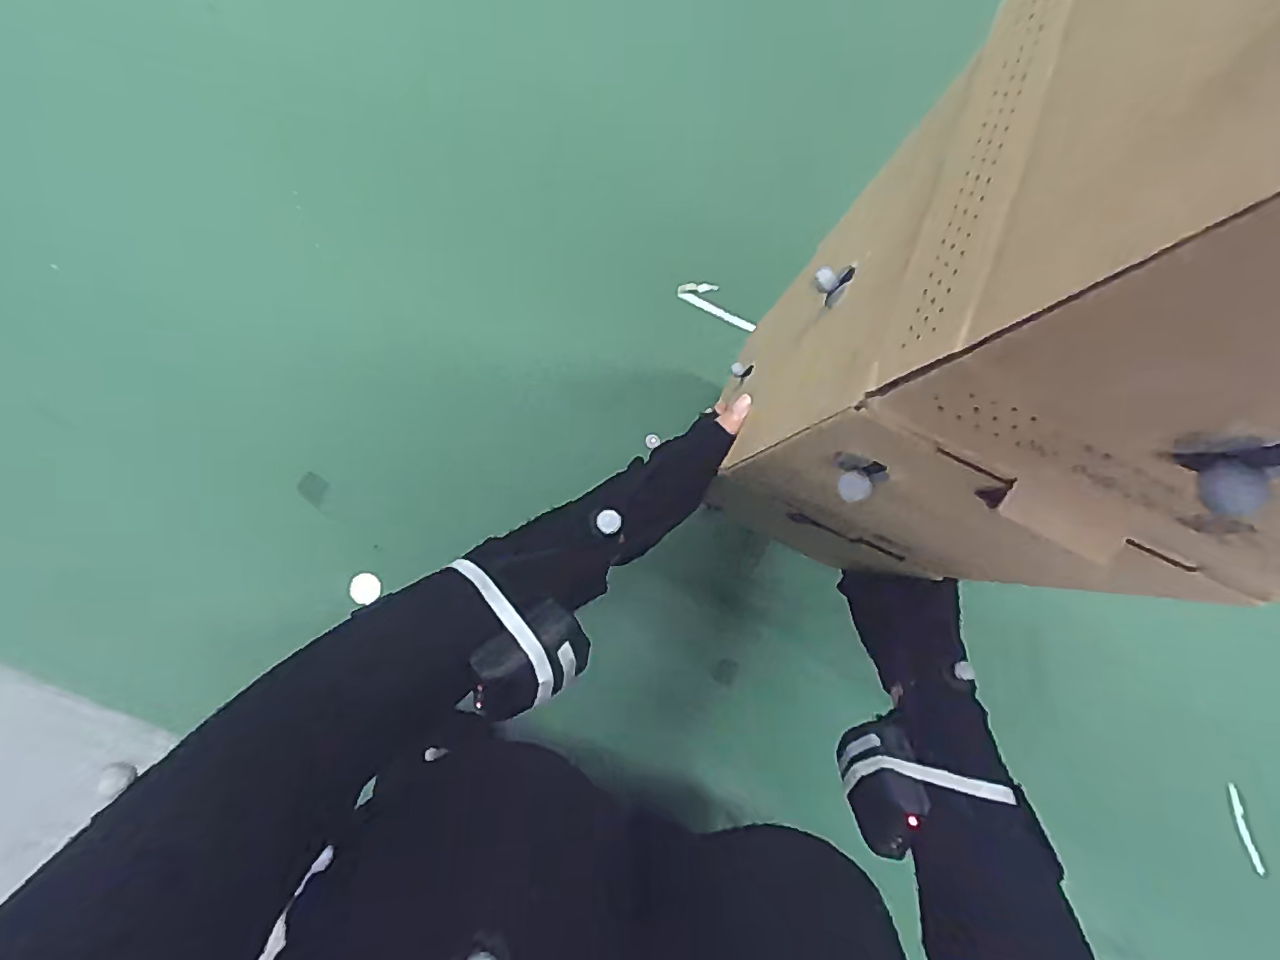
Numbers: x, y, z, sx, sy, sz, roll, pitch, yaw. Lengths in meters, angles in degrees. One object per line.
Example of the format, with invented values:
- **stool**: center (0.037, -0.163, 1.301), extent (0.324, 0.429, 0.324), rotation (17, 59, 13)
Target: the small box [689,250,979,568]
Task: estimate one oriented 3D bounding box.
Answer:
- **small box**: center (0.153, -0.042, 0.451), extent (0.168, 0.176, 0.179), rotation (26, 81, -3)
